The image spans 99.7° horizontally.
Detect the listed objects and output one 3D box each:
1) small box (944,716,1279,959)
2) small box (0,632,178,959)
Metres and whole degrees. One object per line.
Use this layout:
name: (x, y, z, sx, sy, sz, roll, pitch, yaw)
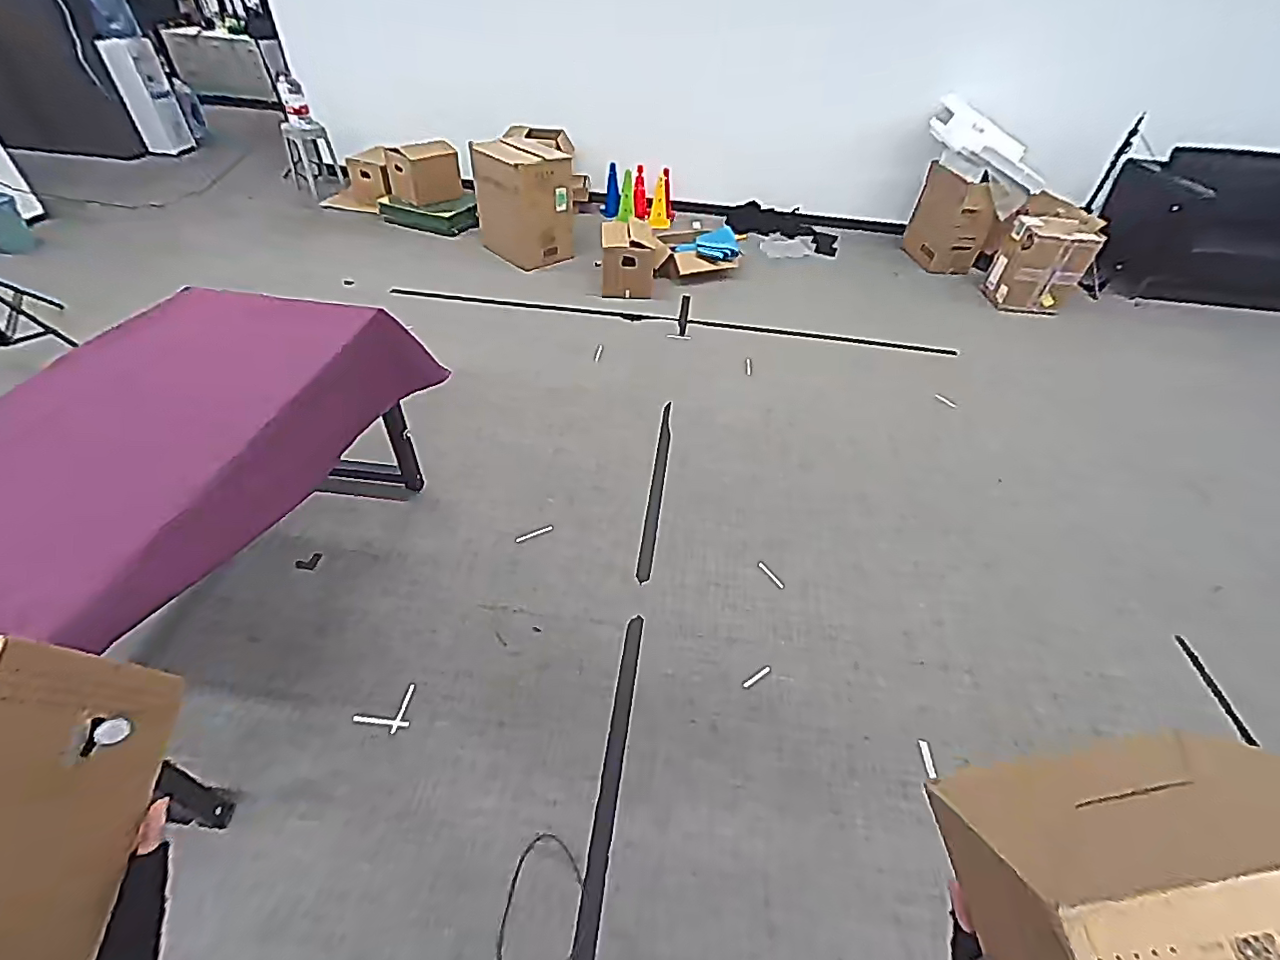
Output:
small box: (0.276, 0.228, 0.254, 0.168, 0.179, 0.176, -16, 75, 8)
small box: (-0.387, 0.166, 0.267, 0.168, 0.179, 0.176, 5, 63, -12)
